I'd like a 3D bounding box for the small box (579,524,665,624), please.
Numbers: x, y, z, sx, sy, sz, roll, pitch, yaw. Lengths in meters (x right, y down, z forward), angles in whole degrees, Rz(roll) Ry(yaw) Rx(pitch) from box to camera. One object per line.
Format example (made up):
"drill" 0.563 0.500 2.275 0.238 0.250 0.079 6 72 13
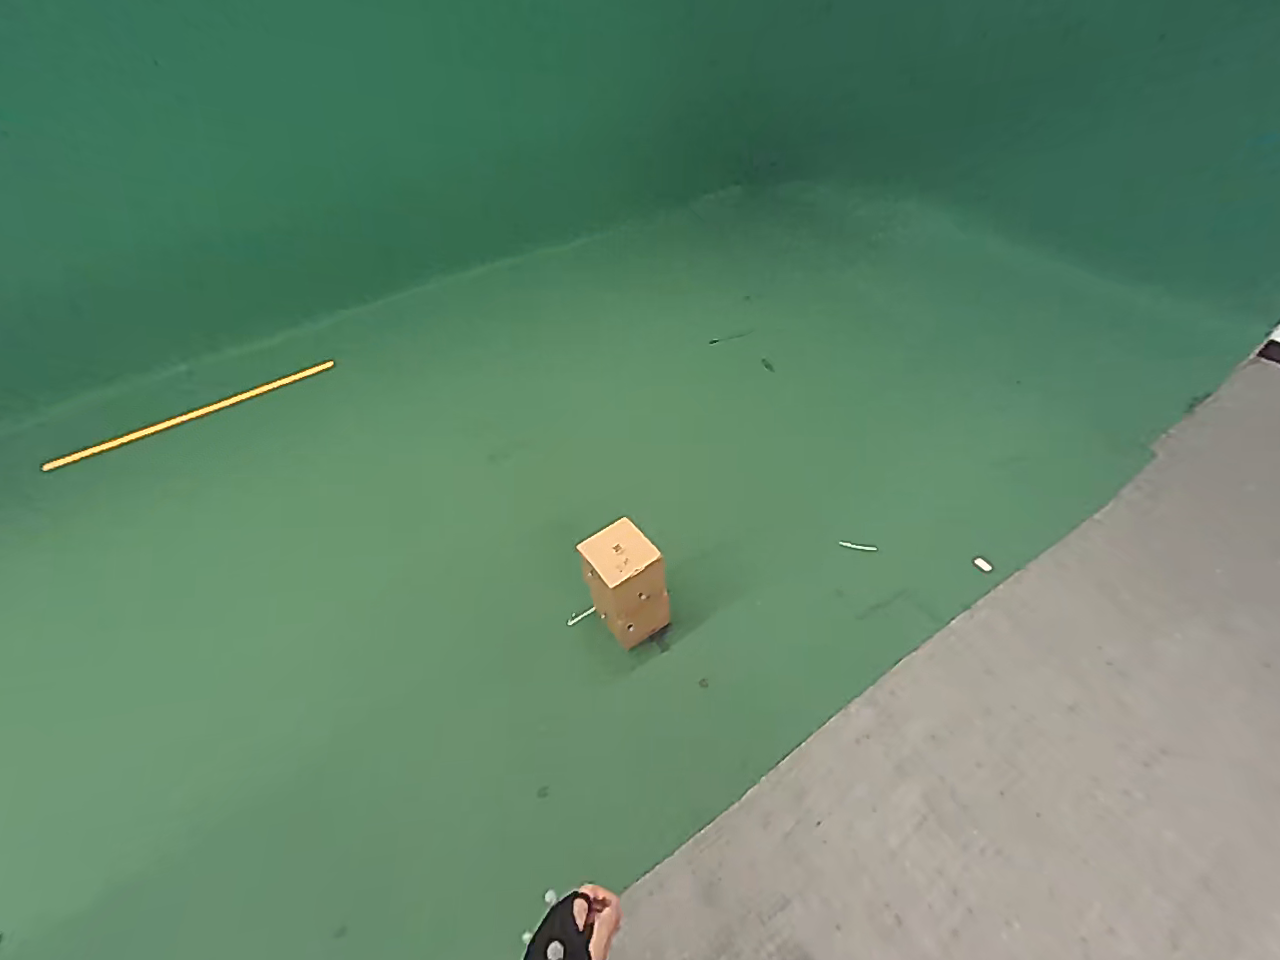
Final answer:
"small box" -0.048 0.261 1.493 0.168 0.176 0.179 -30 50 -21
